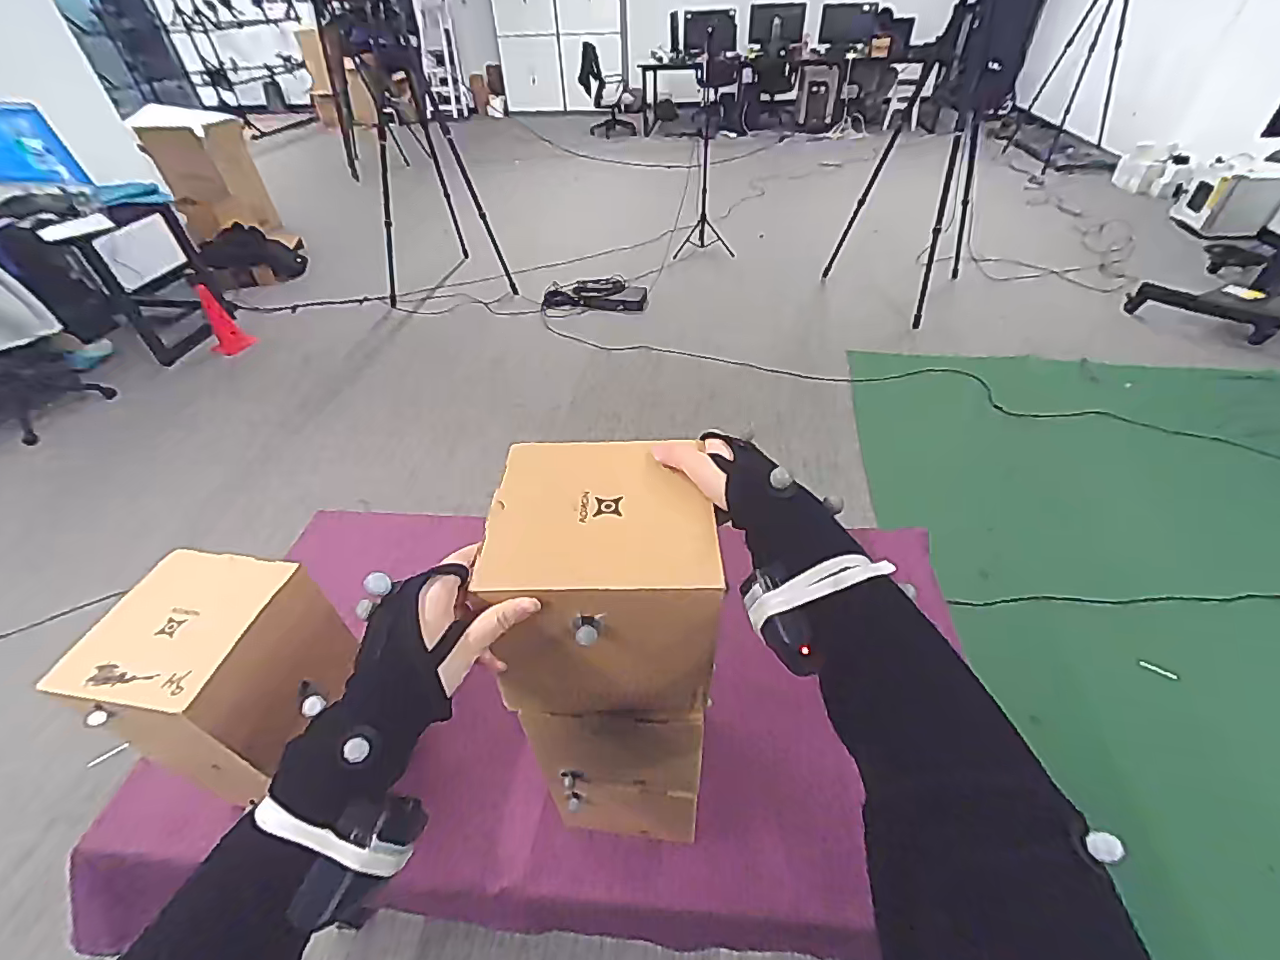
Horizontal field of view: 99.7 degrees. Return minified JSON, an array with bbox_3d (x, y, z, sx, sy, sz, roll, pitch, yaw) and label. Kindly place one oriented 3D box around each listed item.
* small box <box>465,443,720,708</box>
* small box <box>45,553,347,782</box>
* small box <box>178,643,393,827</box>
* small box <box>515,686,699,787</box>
[{"bbox_3d":[-0.029,0.084,0.476,0.179,0.176,0.168,-2,41,2],"label":"small box"},{"bbox_3d":[-0.469,0.209,0.614,0.168,0.176,0.179,4,42,10],"label":"small box"},{"bbox_3d":[-0.461,0.331,0.726,0.168,0.176,0.179,5,44,10],"label":"small box"},{"bbox_3d":[-0.020,0.209,0.584,0.168,0.176,0.179,1,41,5],"label":"small box"}]
